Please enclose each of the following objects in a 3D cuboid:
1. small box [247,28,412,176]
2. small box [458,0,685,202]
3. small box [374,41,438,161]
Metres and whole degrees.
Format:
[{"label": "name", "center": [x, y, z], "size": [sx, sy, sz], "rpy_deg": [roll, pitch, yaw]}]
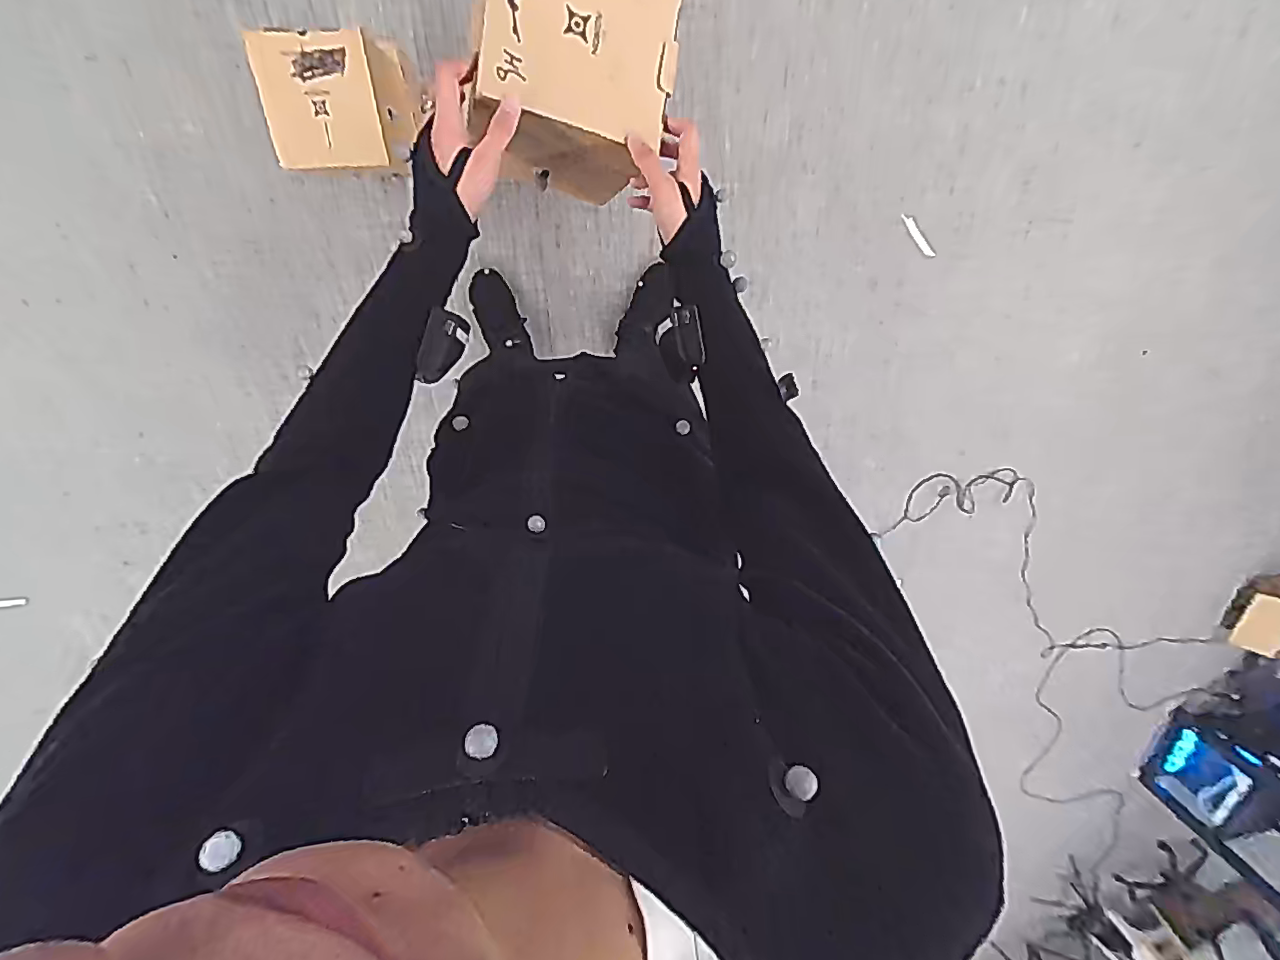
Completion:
[{"label": "small box", "center": [-0.490, -0.605, 0.884], "size": [0.168, 0.176, 0.179], "rpy_deg": [-6, 117, -7]}, {"label": "small box", "center": [-0.079, -0.408, 0.551], "size": [0.179, 0.176, 0.168], "rpy_deg": [6, 97, -25]}, {"label": "small box", "center": [-0.503, -0.699, 1.021], "size": [0.179, 0.176, 0.168], "rpy_deg": [-10, 117, -6]}]
